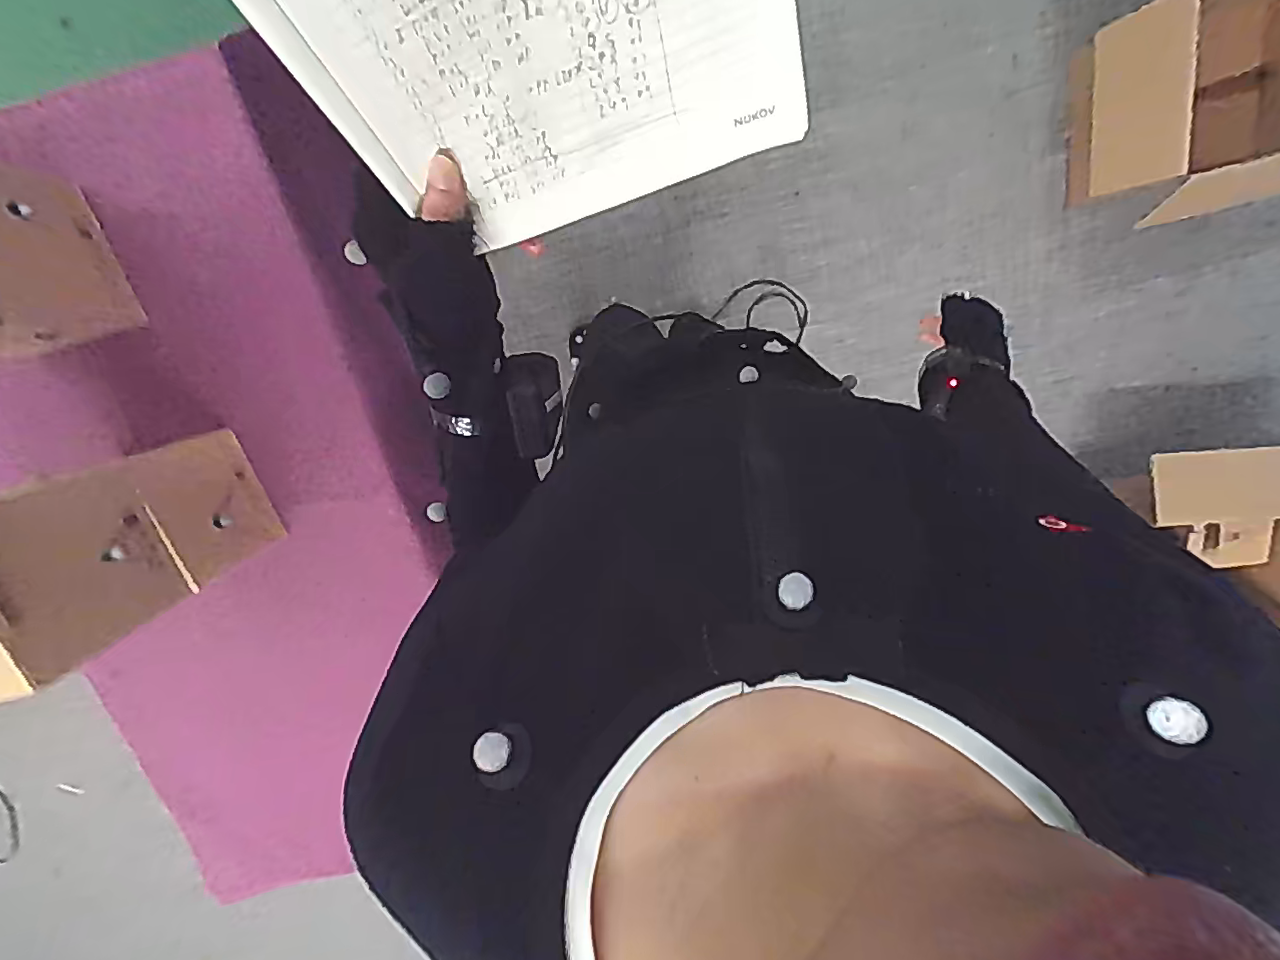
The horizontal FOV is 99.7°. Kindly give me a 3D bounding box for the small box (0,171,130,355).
[{"bbox_3d":[-0.726,-0.234,0.592,0.179,0.176,0.168,-13,107,5],"label":"small box"}]

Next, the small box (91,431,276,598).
[{"bbox_3d":[-0.605,0.050,0.681,0.179,0.176,0.168,-16,107,7],"label":"small box"}]

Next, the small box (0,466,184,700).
[{"bbox_3d":[-0.616,0.099,0.524,0.179,0.176,0.168,-13,107,5],"label":"small box"}]
